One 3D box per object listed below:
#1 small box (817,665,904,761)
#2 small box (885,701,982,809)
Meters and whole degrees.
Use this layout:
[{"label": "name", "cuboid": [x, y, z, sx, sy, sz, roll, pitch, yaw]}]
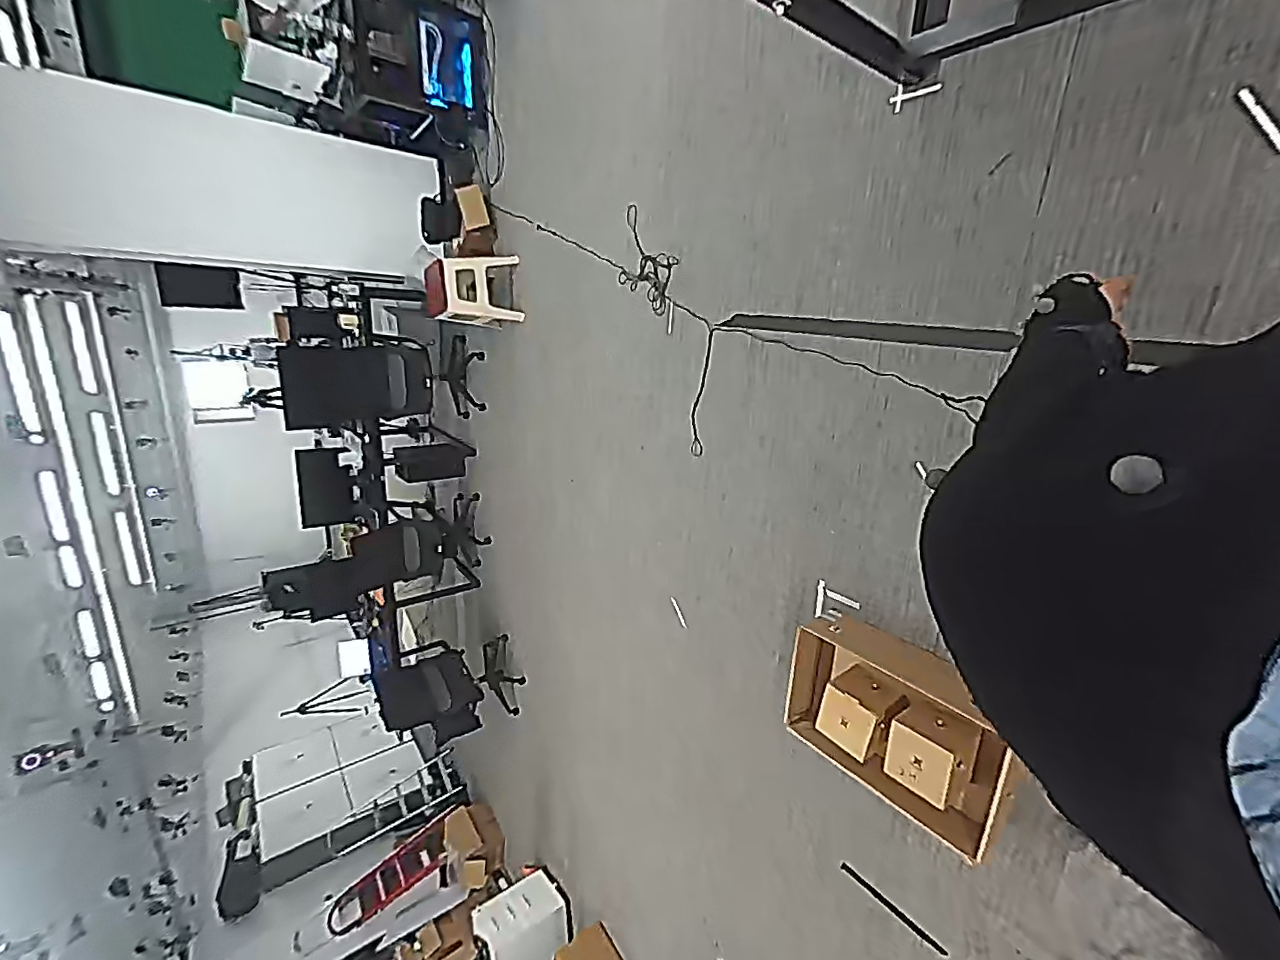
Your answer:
[{"label": "small box", "cuboid": [0.673, 0.704, 1.649, 0.168, 0.176, 0.179, 29, 119, 46]}, {"label": "small box", "cuboid": [0.803, 0.739, 1.478, 0.168, 0.176, 0.179, 21, 114, 51]}]
